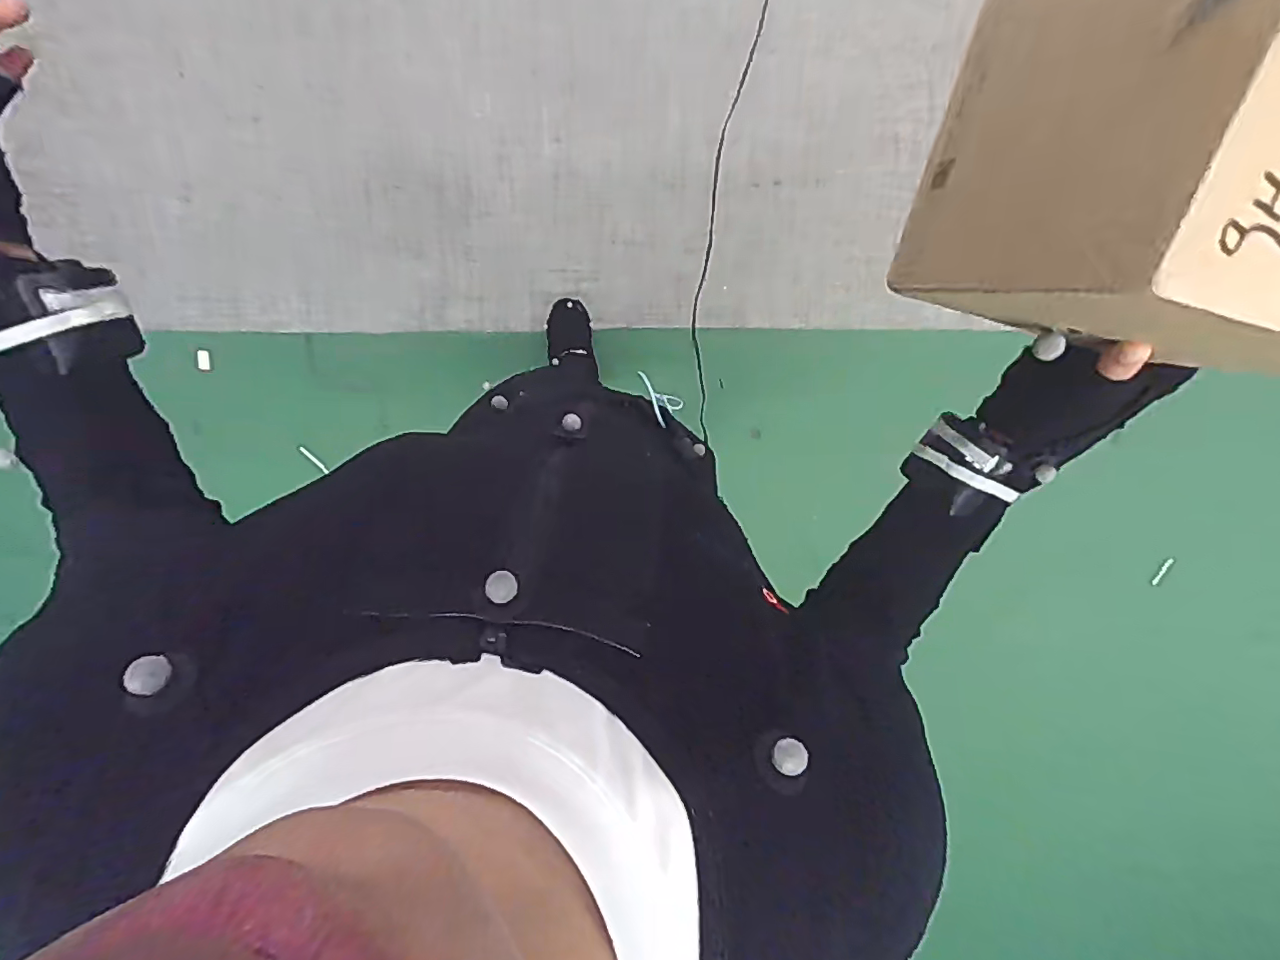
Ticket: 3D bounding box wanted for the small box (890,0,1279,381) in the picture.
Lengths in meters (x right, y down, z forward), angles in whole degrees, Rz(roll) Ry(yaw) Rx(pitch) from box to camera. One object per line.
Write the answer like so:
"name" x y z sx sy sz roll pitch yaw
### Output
"small box" 0.257 -0.146 0.242 0.179 0.176 0.168 12 108 -11
